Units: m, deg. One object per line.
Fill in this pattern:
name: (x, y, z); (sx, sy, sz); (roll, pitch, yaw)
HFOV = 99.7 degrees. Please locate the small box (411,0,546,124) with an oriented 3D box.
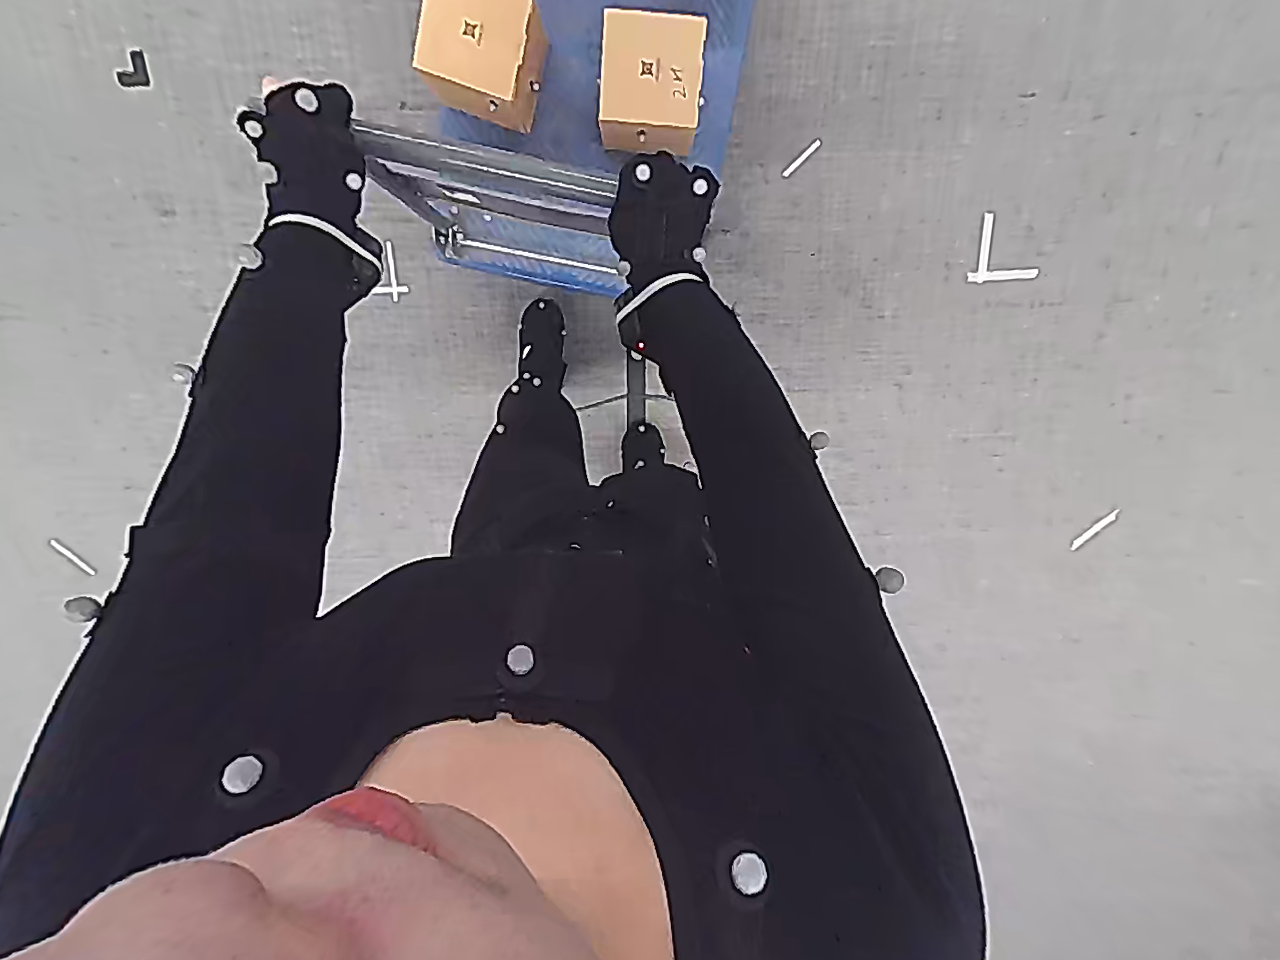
small box: (-0.281, -0.776, 0.971); (0.179, 0.176, 0.168); (15, 106, -7)

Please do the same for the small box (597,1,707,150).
small box: (0.018, -0.725, 0.988); (0.179, 0.176, 0.168); (4, 107, -2)
